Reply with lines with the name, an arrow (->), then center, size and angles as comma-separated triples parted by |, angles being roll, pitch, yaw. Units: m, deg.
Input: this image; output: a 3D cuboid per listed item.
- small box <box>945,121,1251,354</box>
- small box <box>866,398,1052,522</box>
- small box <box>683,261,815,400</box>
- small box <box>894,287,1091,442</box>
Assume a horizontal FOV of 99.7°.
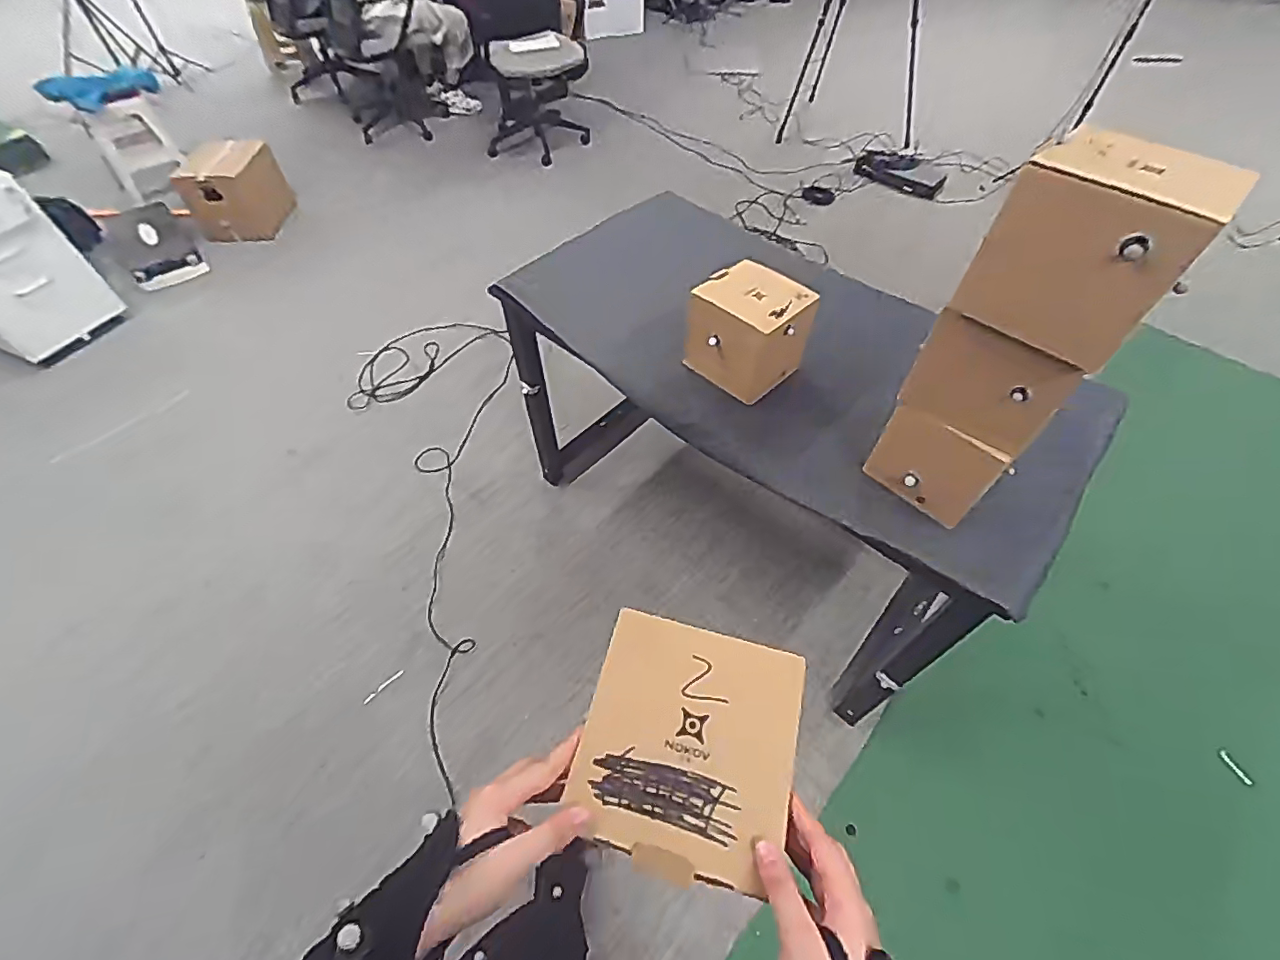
small box -> 0.485, -0.263, 0.597 | 0.168, 0.176, 0.179 | -36, 59, -28
small box -> 0.493, -0.068, 0.861 | 0.179, 0.176, 0.168 | -34, 59, -25
small box -> 0.197, -0.284, 1.033 | 0.179, 0.176, 0.168 | 38, 60, 26
small box -> 0.487, -0.177, 0.740 | 0.179, 0.176, 0.168 | 33, 56, 25
